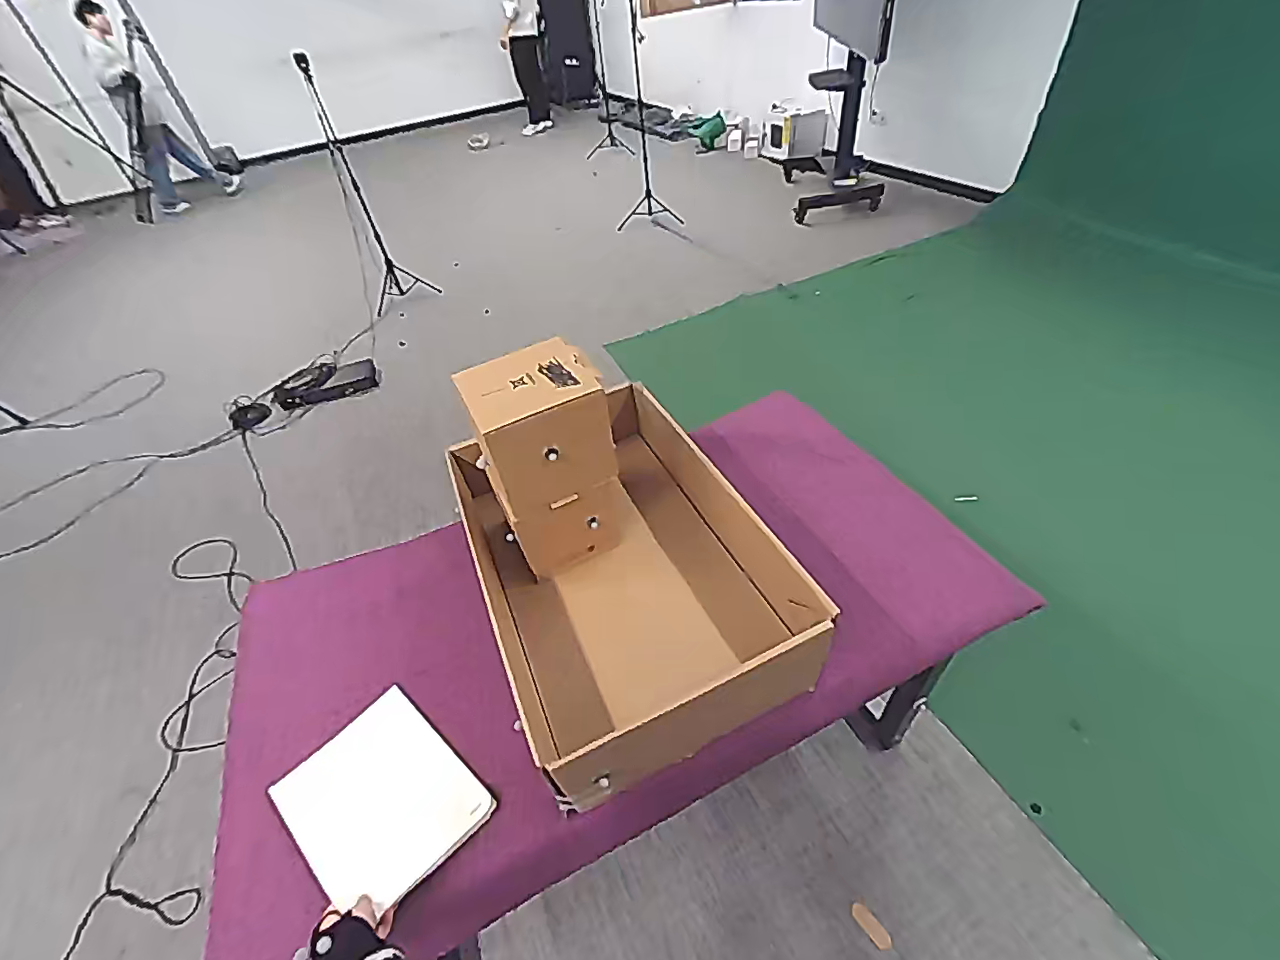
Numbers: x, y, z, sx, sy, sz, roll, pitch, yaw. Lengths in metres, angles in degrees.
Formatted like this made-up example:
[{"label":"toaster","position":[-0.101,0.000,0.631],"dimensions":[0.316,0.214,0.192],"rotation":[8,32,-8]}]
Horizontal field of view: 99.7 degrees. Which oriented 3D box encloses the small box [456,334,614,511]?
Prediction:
[{"label":"small box","position":[-0.149,-0.086,0.813],"dimensions":[0.179,0.176,0.168],"rotation":[-24,47,-16]}]
